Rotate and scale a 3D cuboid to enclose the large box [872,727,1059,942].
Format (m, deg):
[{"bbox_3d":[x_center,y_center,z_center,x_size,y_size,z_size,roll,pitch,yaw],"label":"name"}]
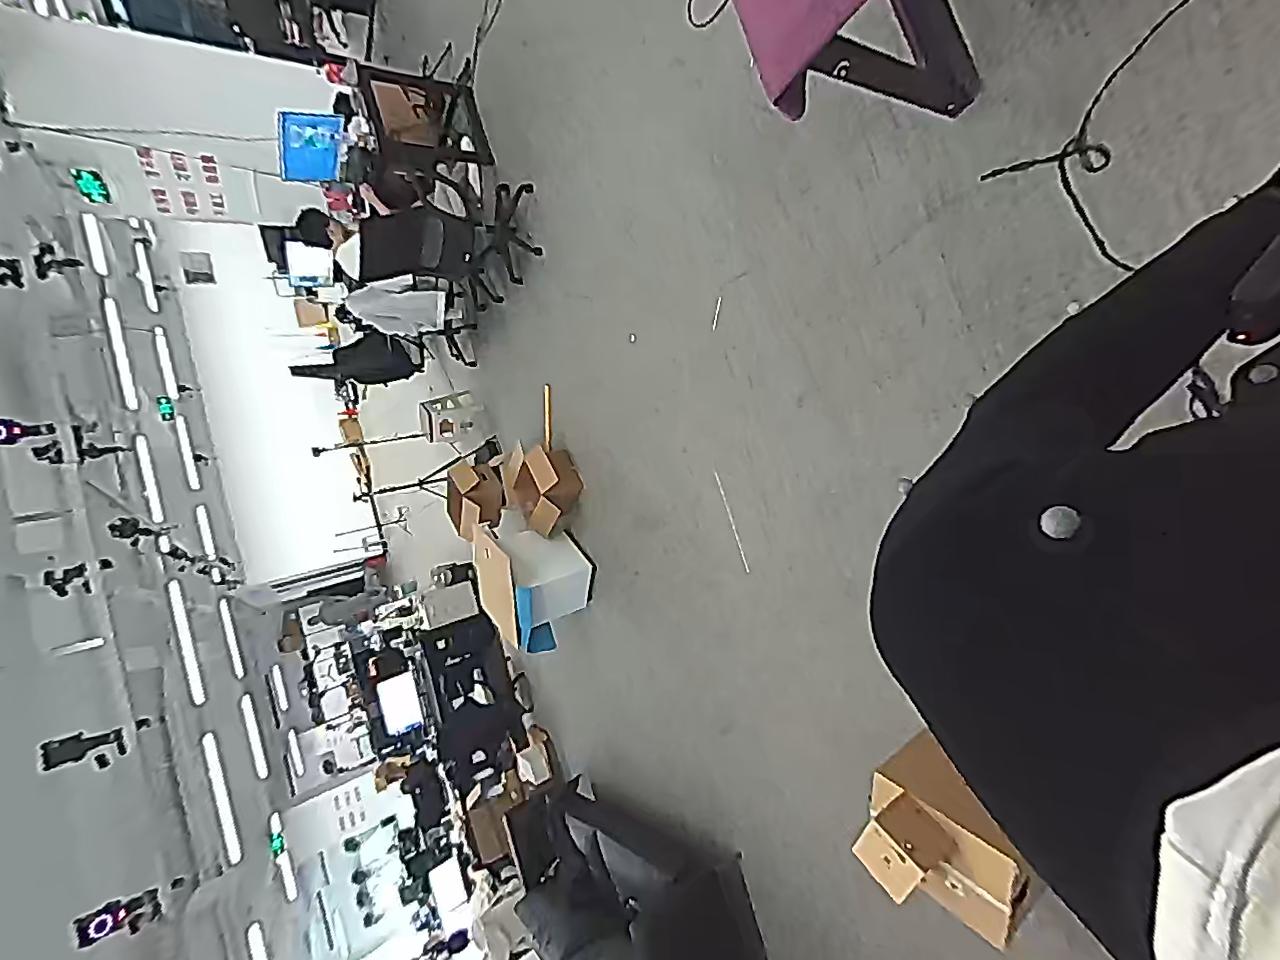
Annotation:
[{"bbox_3d":[0.986,1.051,1.668,0.408,0.320,0.320,16,115,51],"label":"large box"}]

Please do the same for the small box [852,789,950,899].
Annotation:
[{"bbox_3d":[0.753,1.045,1.560,0.168,0.176,0.179,41,132,41],"label":"small box"}]
